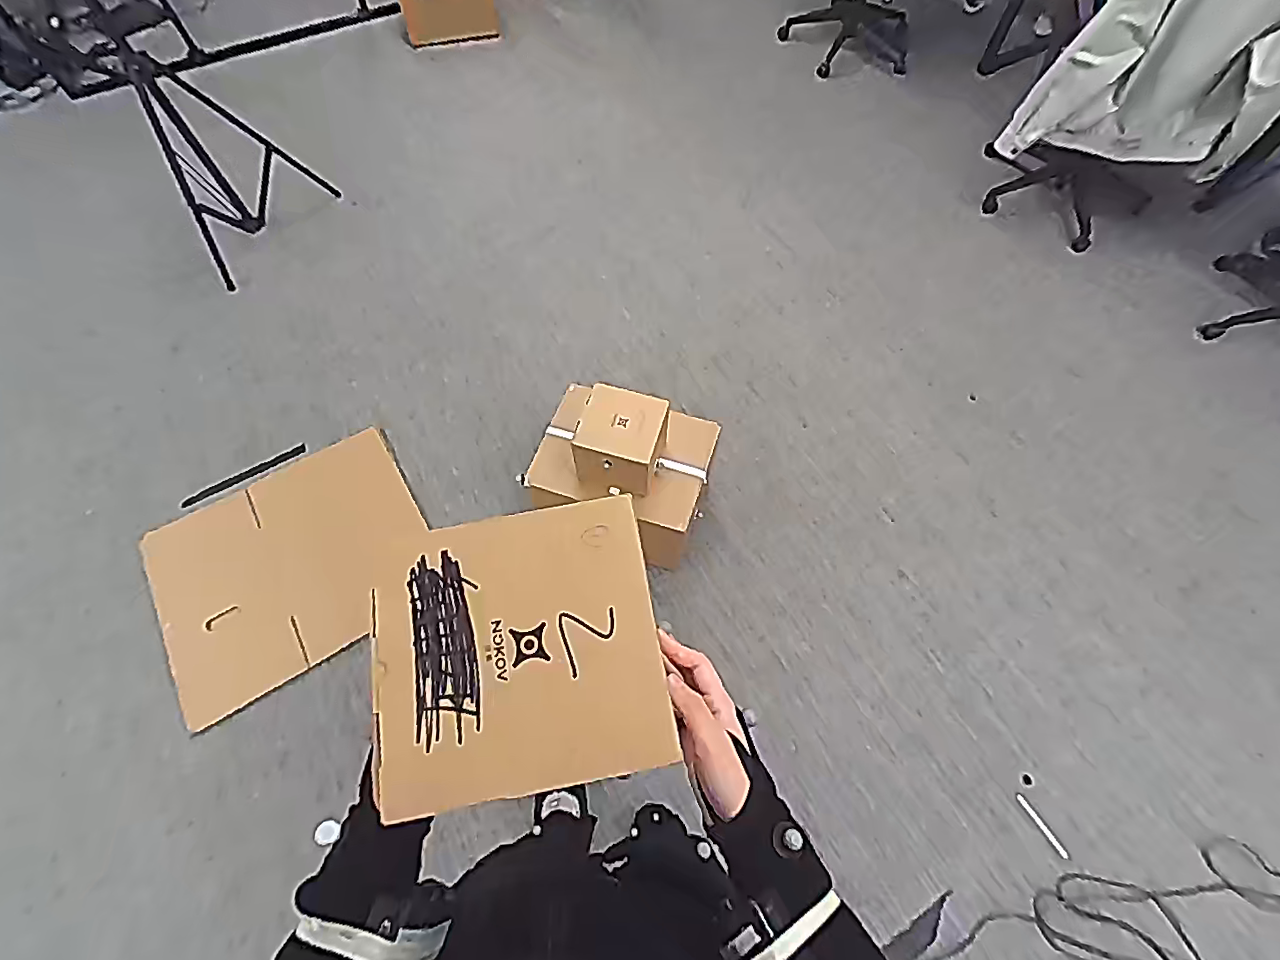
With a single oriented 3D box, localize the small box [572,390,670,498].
[{"bbox_3d":[-0.039,-0.076,1.230,0.179,0.176,0.168,15,65,6],"label":"small box"}]
